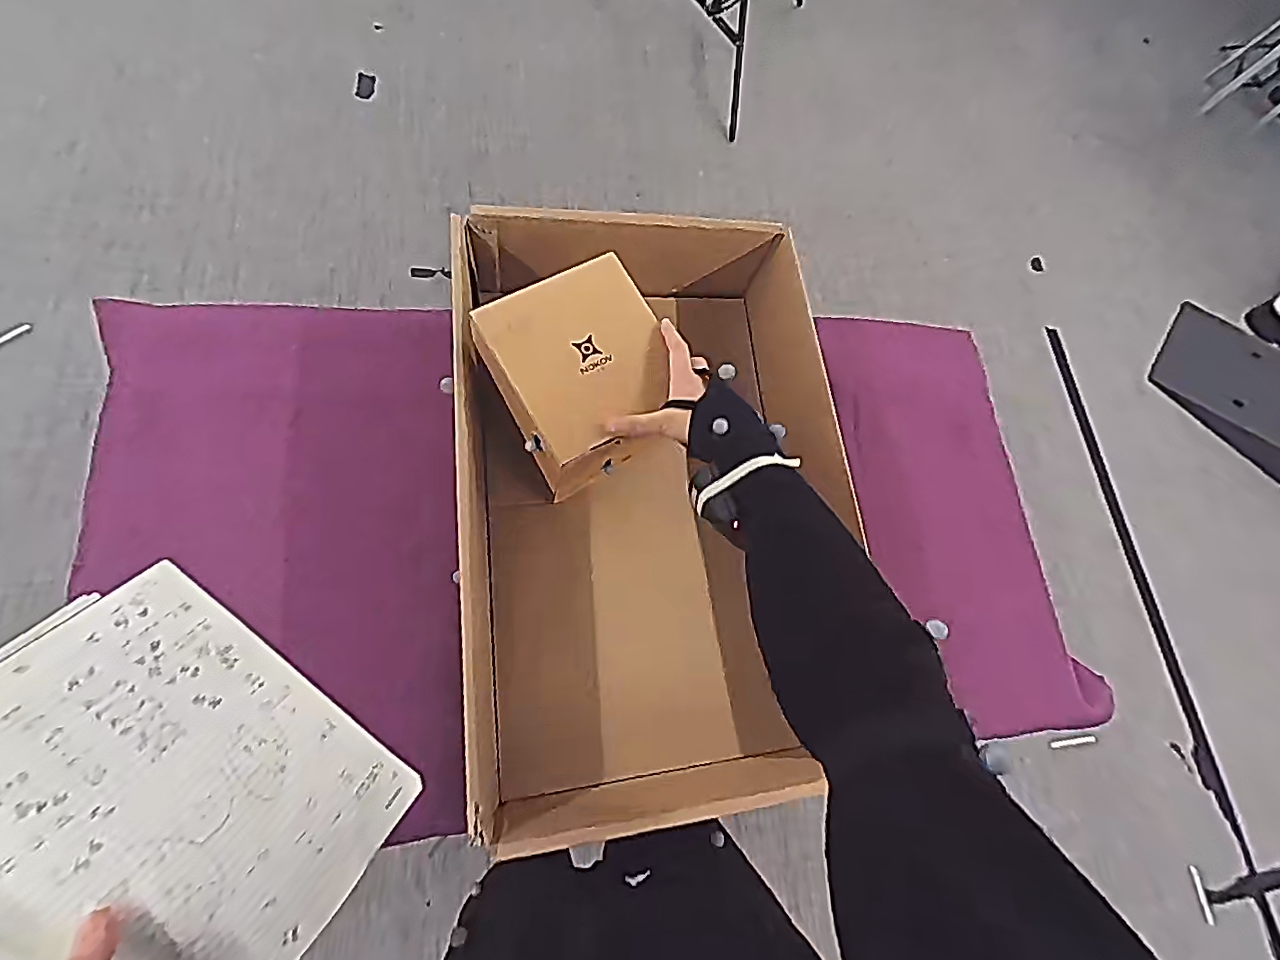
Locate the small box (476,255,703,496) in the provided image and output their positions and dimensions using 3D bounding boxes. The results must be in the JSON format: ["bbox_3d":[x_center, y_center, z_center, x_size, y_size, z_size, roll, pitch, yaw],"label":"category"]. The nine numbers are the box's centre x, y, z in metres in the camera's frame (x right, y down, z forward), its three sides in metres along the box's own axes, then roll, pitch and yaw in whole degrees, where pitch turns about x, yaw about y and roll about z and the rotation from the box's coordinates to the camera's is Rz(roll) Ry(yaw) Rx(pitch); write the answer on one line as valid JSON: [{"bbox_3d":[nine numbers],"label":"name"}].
[{"bbox_3d":[-0.064,-0.104,0.600,0.168,0.176,0.179,-31,85,-18],"label":"small box"}]
